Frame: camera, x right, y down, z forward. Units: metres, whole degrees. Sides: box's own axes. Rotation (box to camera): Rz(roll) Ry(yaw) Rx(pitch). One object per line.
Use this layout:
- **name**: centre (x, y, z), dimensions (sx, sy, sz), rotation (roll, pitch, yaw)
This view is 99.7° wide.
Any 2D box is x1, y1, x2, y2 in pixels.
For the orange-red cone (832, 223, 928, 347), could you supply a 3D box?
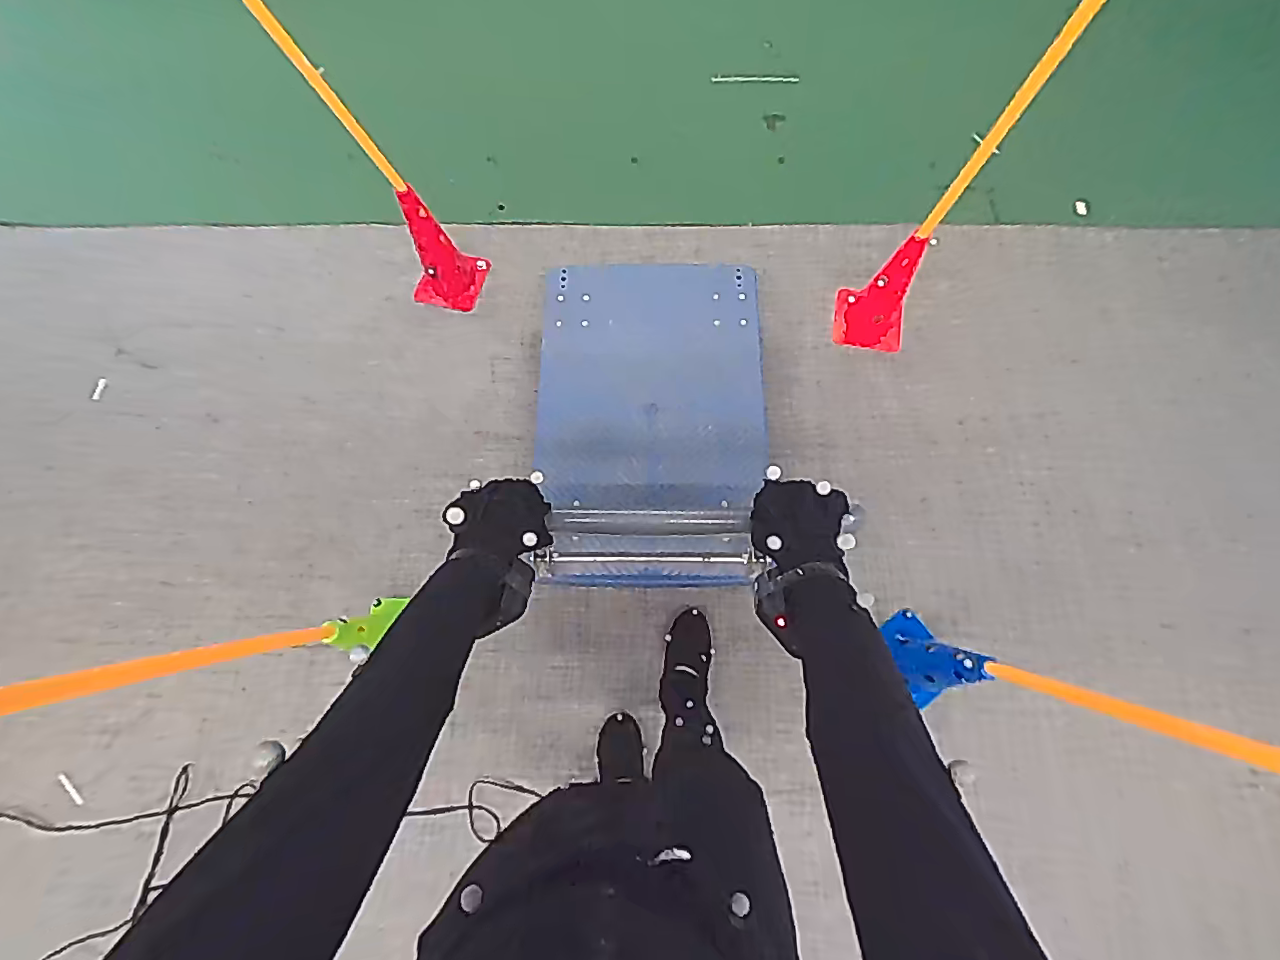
- **orange-red cone**: centre (0.676, -0.544, 1.453), dimensions (0.198, 0.360, 0.199), rotation (11, 74, 6)
